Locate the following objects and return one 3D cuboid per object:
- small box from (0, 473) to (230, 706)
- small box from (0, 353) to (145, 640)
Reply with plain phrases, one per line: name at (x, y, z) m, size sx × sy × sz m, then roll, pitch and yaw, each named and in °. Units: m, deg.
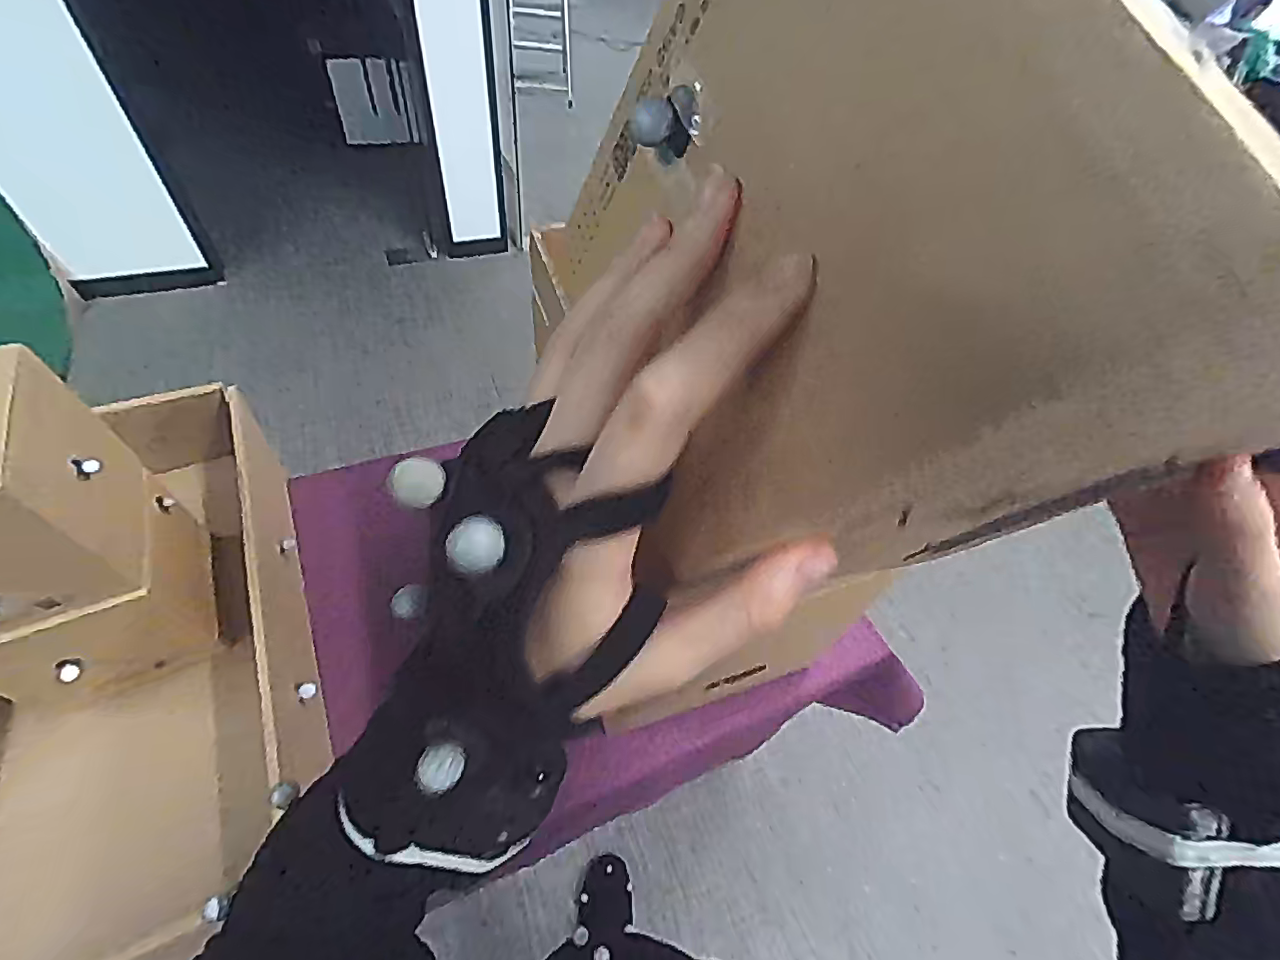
small box at (-0.593, 0.127, 0.600) m, size 0.168 × 0.176 × 0.179 m, roll -22°, pitch 59°, yaw -21°
small box at (-0.580, 0.024, 0.472) m, size 0.168 × 0.176 × 0.179 m, roll -21°, pitch 59°, yaw -20°
